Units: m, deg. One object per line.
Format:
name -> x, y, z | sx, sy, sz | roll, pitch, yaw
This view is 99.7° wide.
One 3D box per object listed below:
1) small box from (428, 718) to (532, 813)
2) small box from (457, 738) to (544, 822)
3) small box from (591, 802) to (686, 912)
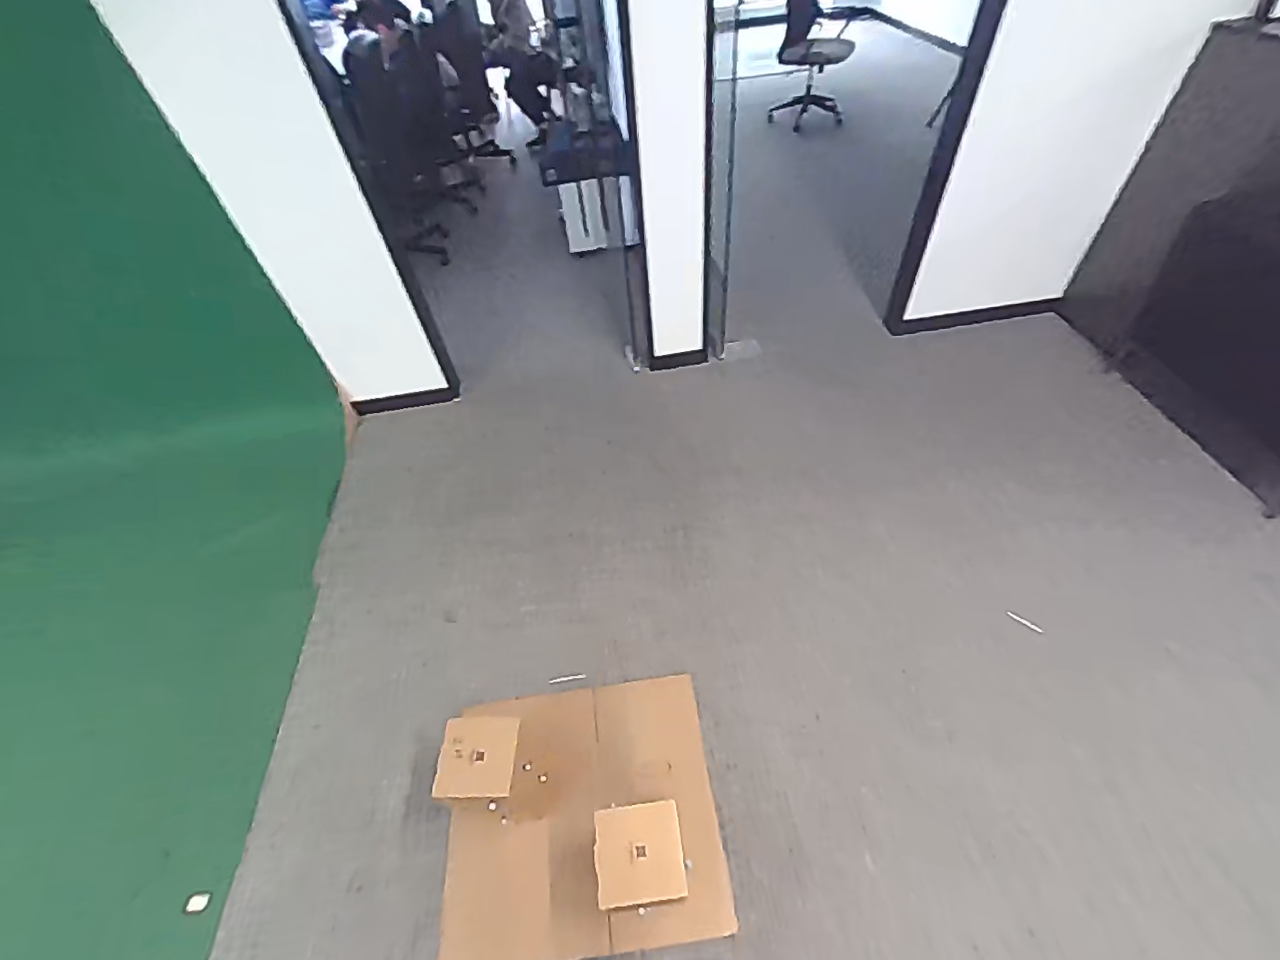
small box -> -0.362, 0.670, 1.266 | 0.179, 0.176, 0.168 | -2, 49, 4
small box -> -0.354, 0.773, 1.396 | 0.179, 0.176, 0.168 | -2, 49, 4
small box -> -0.001, 0.792, 1.136 | 0.179, 0.176, 0.168 | -9, 50, 0
